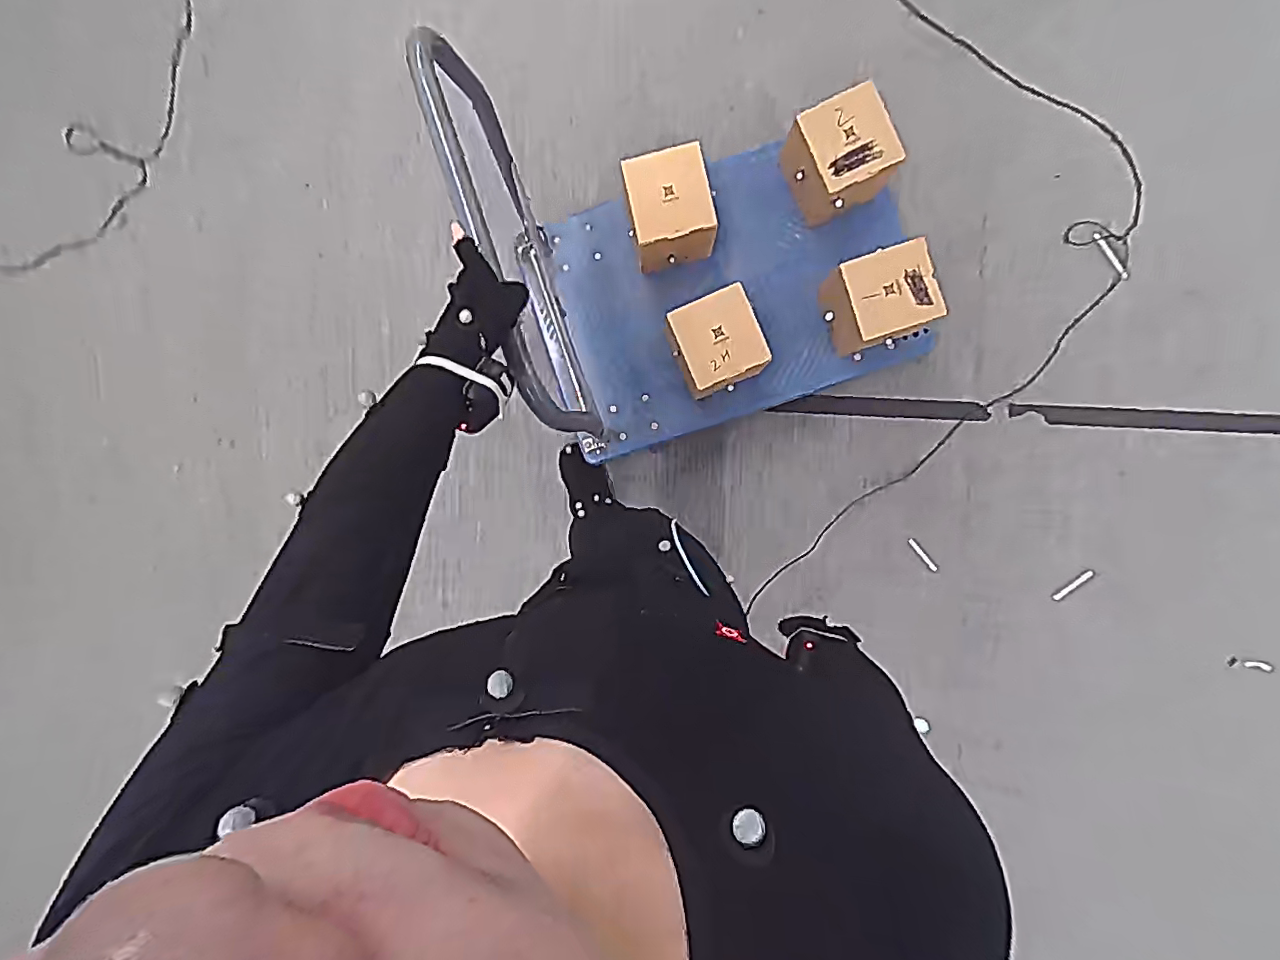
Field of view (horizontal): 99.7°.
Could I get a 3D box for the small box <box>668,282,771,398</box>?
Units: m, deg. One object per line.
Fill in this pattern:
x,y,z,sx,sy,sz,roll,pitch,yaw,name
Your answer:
0.165,-0.297,1.184,0.168,0.176,0.179,-23,90,3,small box

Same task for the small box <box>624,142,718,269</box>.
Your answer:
0.065,-0.588,1.179,0.168,0.176,0.179,-13,93,3,small box

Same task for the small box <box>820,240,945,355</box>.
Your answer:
0.513,-0.384,1.165,0.179,0.176,0.168,-17,91,4,small box
